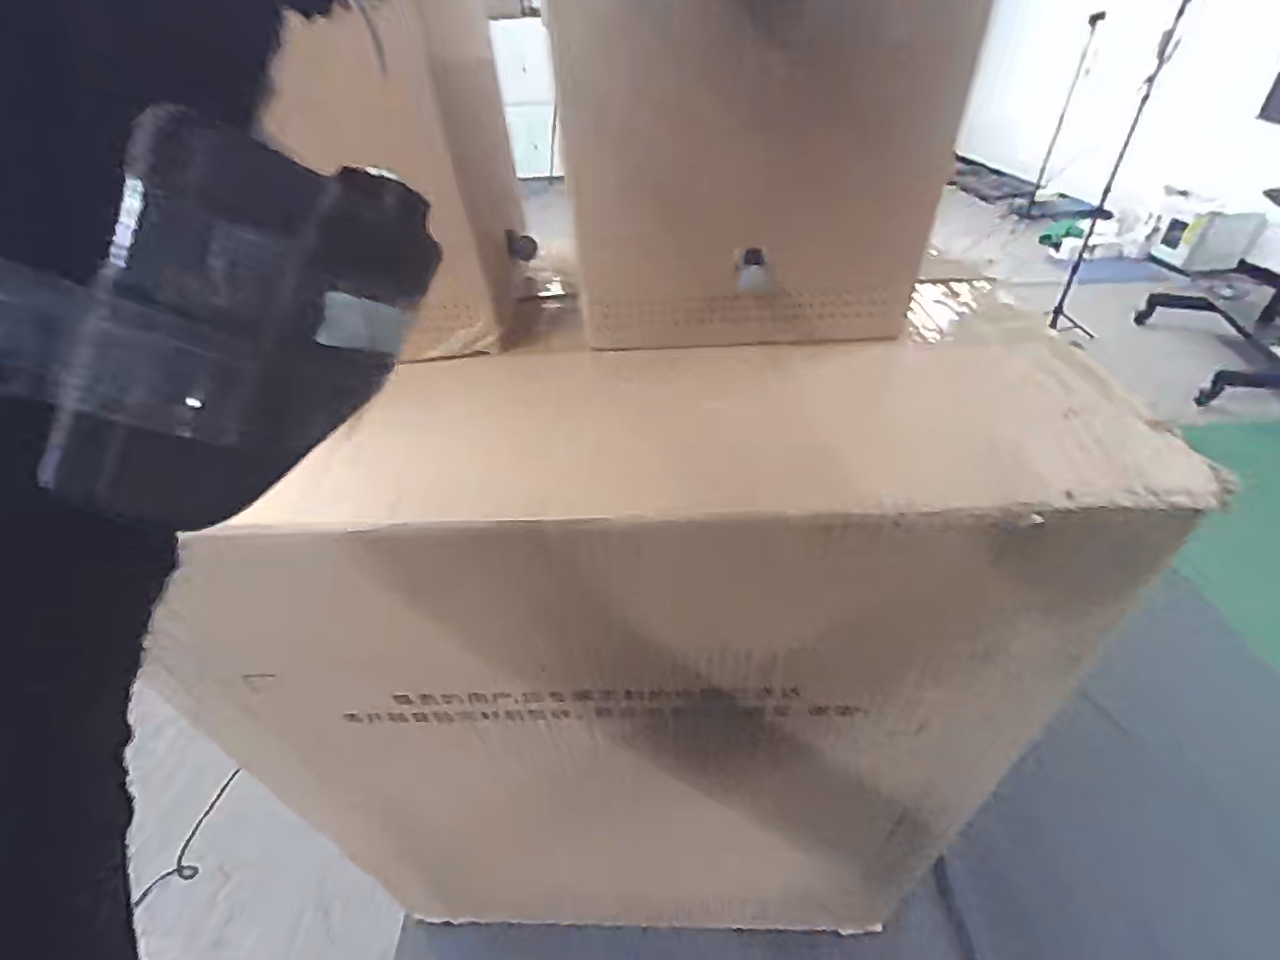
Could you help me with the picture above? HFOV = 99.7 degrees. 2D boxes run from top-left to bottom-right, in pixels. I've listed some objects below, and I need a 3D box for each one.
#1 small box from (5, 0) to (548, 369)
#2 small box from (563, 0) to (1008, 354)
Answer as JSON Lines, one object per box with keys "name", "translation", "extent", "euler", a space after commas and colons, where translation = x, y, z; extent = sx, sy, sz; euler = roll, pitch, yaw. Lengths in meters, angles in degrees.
{"name": "small box", "translation": [-0.162, -0.178, 0.321], "extent": [0.179, 0.176, 0.168], "euler": [-4, 42, 0]}
{"name": "small box", "translation": [0.061, -0.185, 0.313], "extent": [0.179, 0.176, 0.168], "euler": [-2, 40, 3]}
